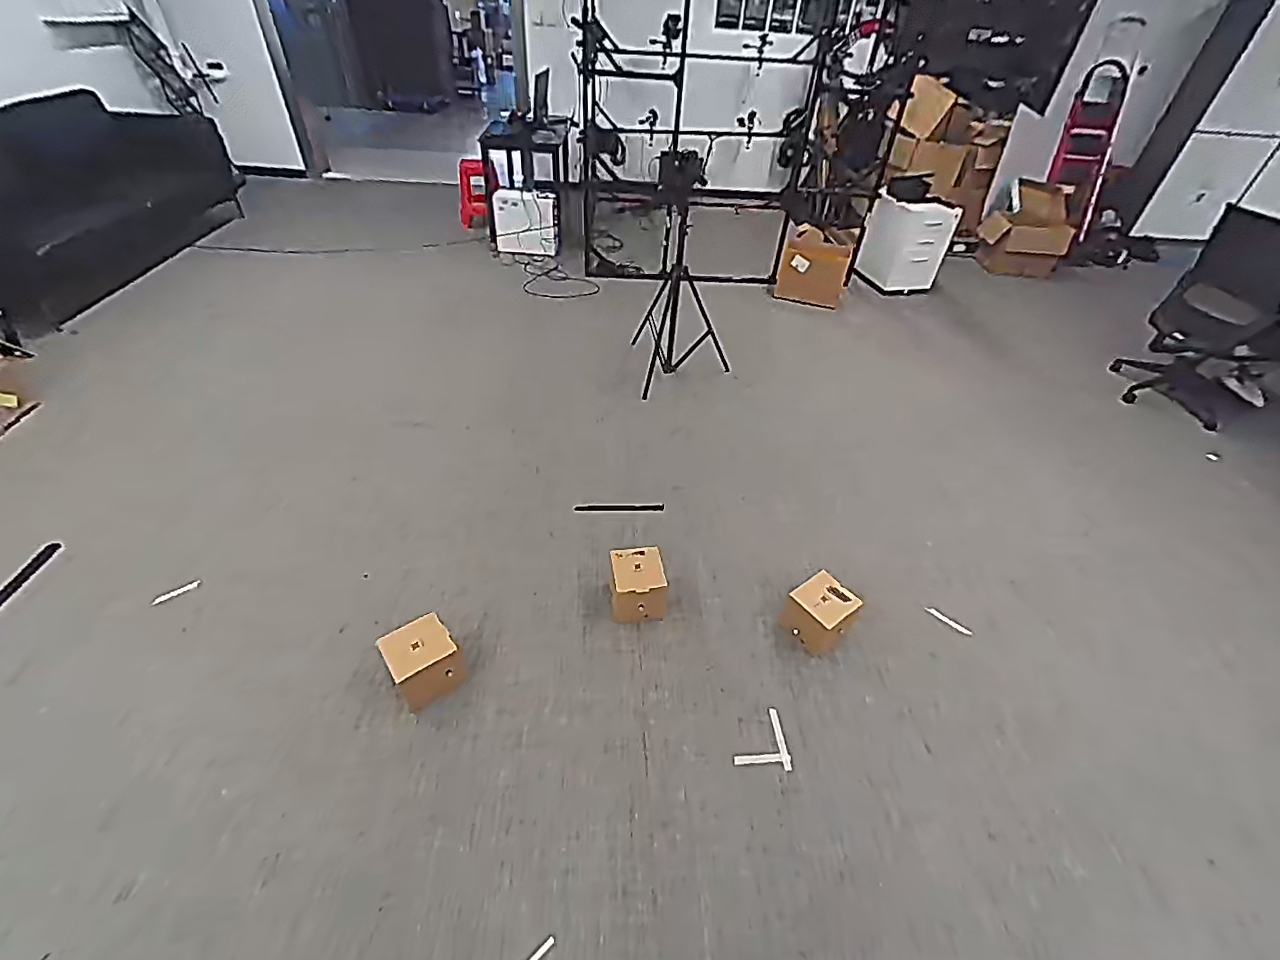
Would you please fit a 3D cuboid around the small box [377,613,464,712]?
[{"bbox_3d":[-0.627,0.527,1.565,0.179,0.176,0.168,-27,48,-30],"label":"small box"}]

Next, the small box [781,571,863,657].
[{"bbox_3d":[0.587,0.438,1.766,0.179,0.176,0.168,-25,49,-28],"label":"small box"}]

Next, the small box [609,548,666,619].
[{"bbox_3d":[-0.012,0.353,1.813,0.168,0.176,0.179,-4,43,-10],"label":"small box"}]
